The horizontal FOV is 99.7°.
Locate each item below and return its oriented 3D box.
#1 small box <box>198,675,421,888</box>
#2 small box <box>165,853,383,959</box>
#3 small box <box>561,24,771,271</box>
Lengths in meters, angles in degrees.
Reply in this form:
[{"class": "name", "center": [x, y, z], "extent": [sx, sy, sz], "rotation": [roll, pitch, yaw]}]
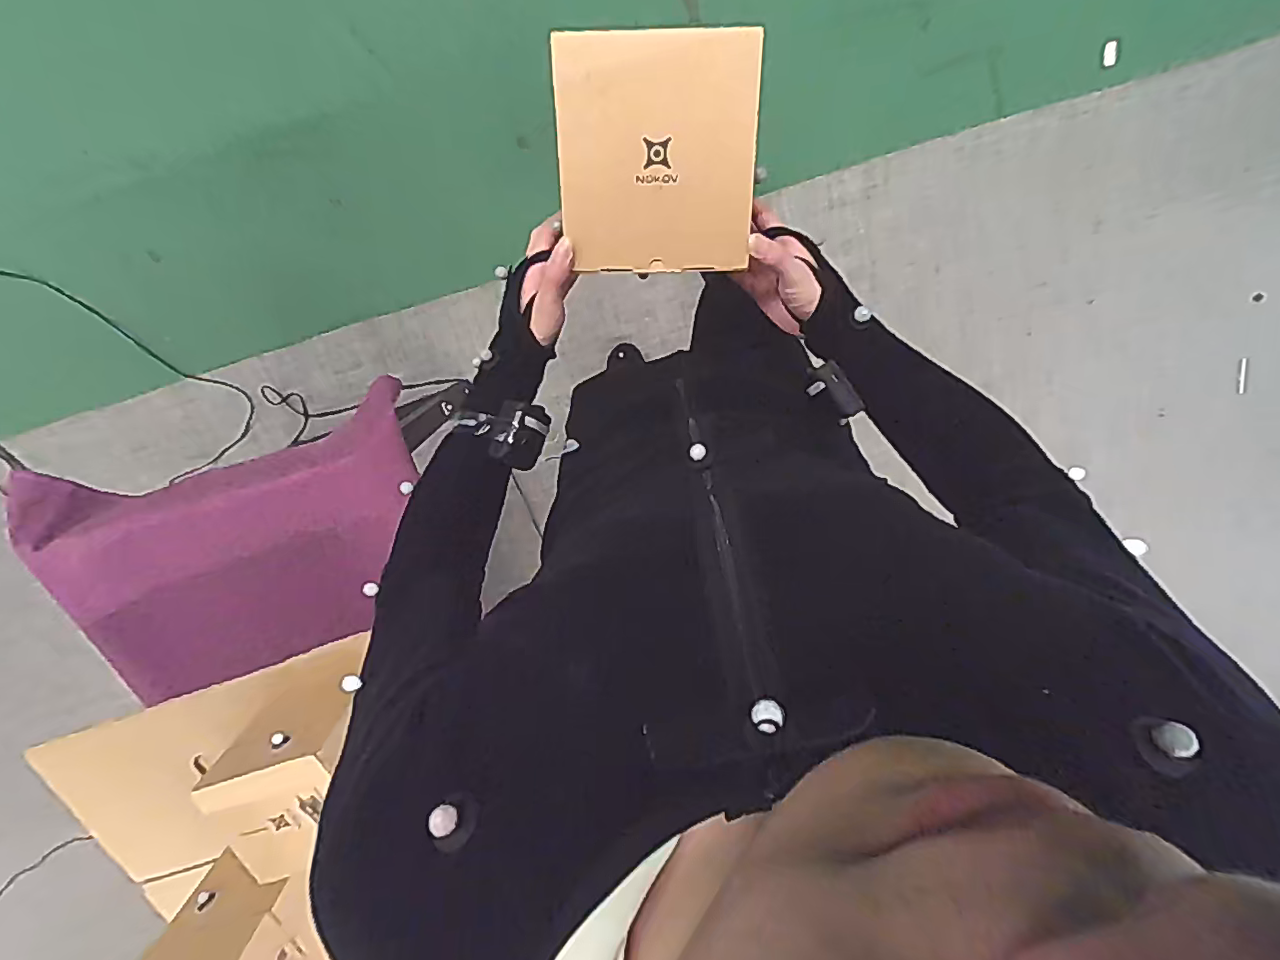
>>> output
[{"class": "small box", "center": [-0.425, 0.399, 0.738], "extent": [0.179, 0.176, 0.168], "rotation": [-19, 107, 5]}, {"class": "small box", "center": [-0.528, 0.642, 0.810], "extent": [0.179, 0.176, 0.168], "rotation": [-18, 107, 3]}, {"class": "small box", "center": [0.020, -0.300, 0.520], "extent": [0.168, 0.176, 0.179], "rotation": [-1, 115, 1]}]
